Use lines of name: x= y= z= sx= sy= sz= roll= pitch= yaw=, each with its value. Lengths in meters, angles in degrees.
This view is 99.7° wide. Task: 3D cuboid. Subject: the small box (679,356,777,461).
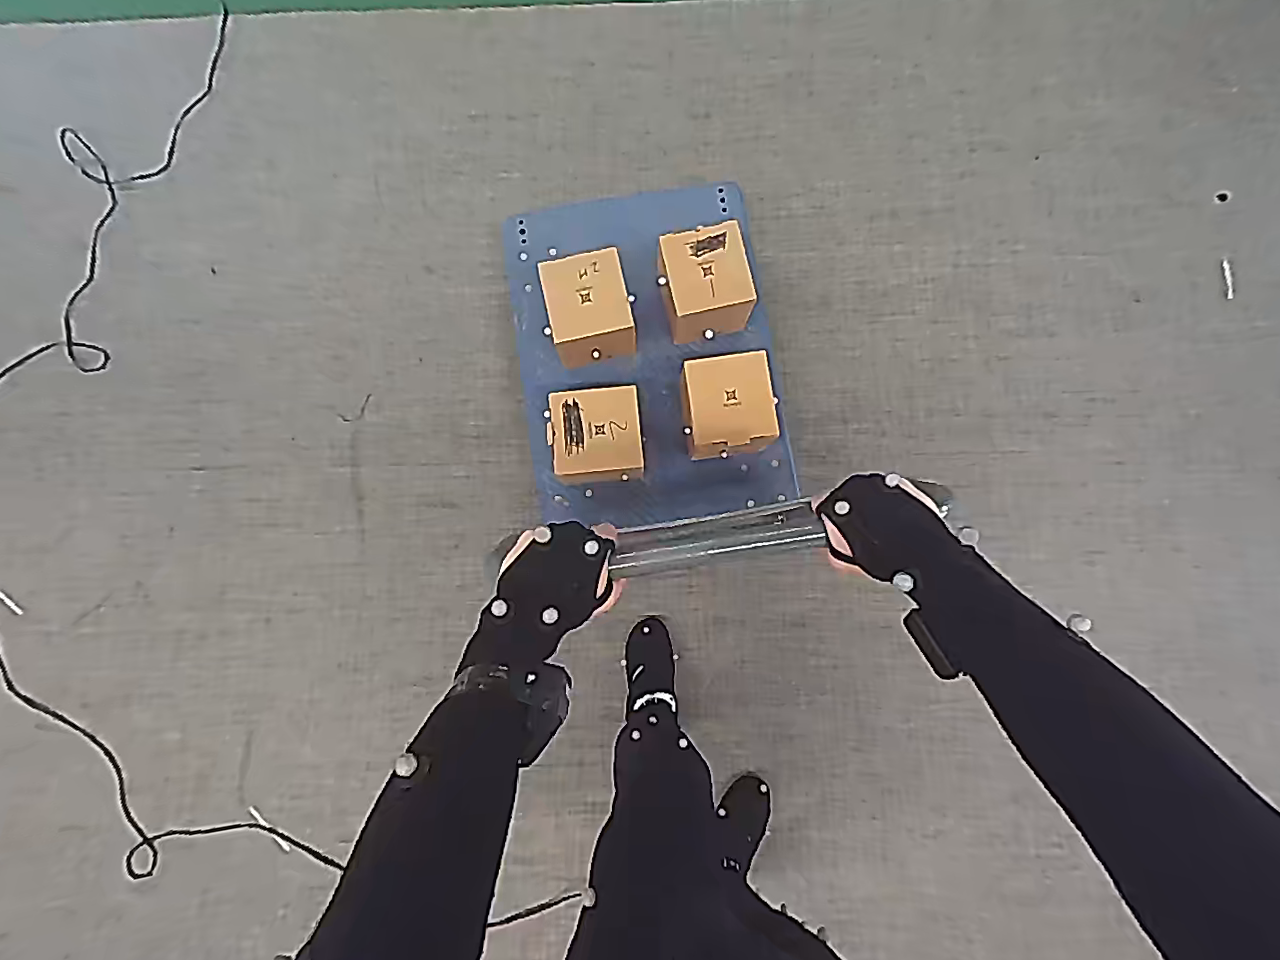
small box: x=0.180 y=-0.146 z=1.159 sx=0.168 sy=0.176 sz=0.179 roll=-8 pitch=84 yaw=0

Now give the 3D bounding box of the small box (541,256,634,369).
small box: x=-0.108 y=-0.355 z=1.185 sx=0.168 sy=0.176 sz=0.179 roll=-12 pitch=83 yaw=-2

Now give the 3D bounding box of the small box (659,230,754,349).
small box: x=0.137 y=-0.412 z=1.189 sx=0.168 sy=0.176 sz=0.179 roll=-12 pitch=84 yaw=0
